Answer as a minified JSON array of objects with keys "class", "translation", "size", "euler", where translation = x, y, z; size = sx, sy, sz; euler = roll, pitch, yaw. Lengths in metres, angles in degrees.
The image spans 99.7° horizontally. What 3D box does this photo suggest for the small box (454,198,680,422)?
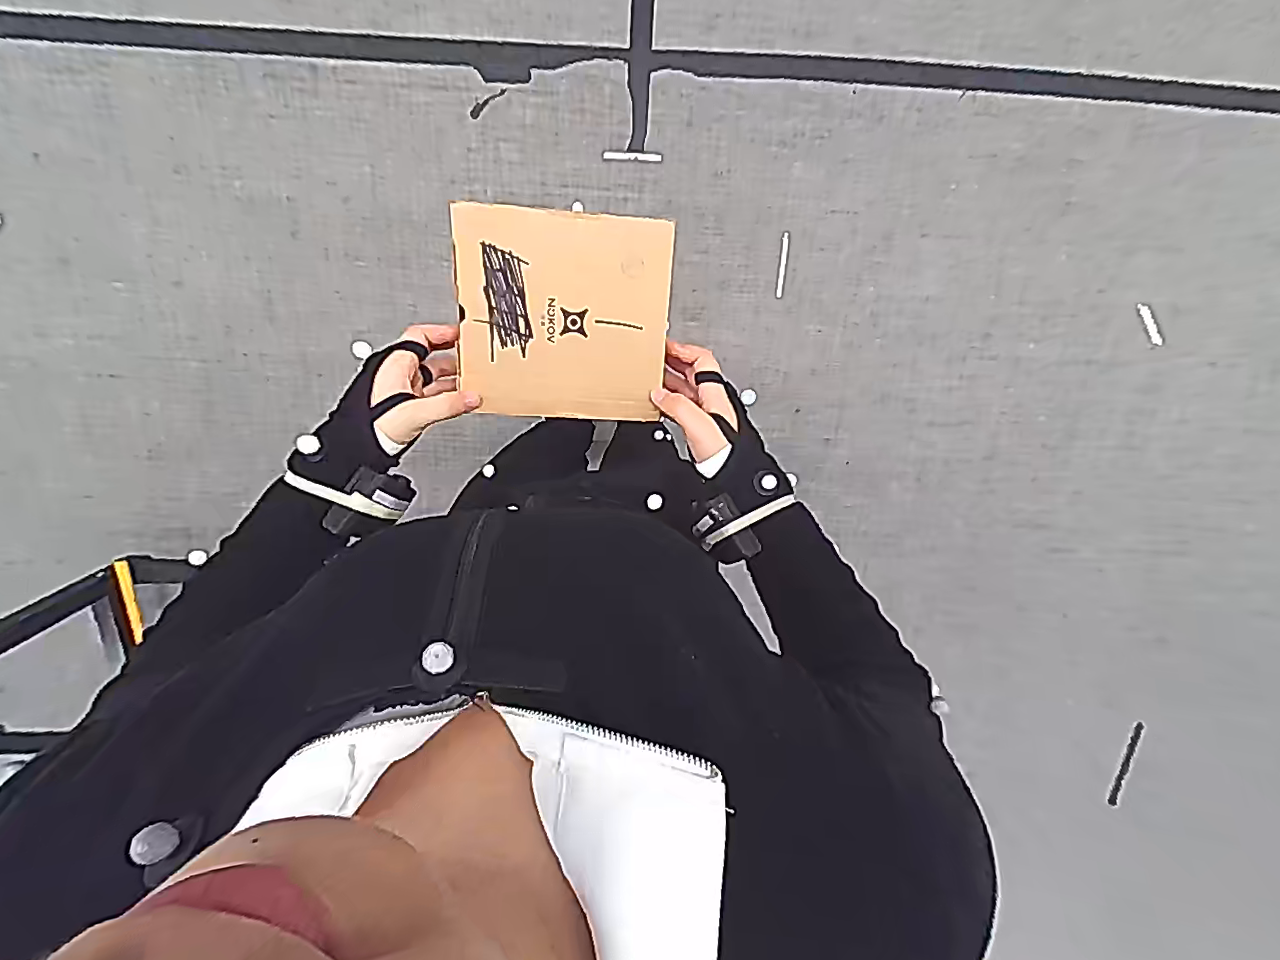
[{"class":"small box","translation":[-0.067,-0.157,0.515],"size":[0.179,0.176,0.168],"euler":[2,109,-6]}]
